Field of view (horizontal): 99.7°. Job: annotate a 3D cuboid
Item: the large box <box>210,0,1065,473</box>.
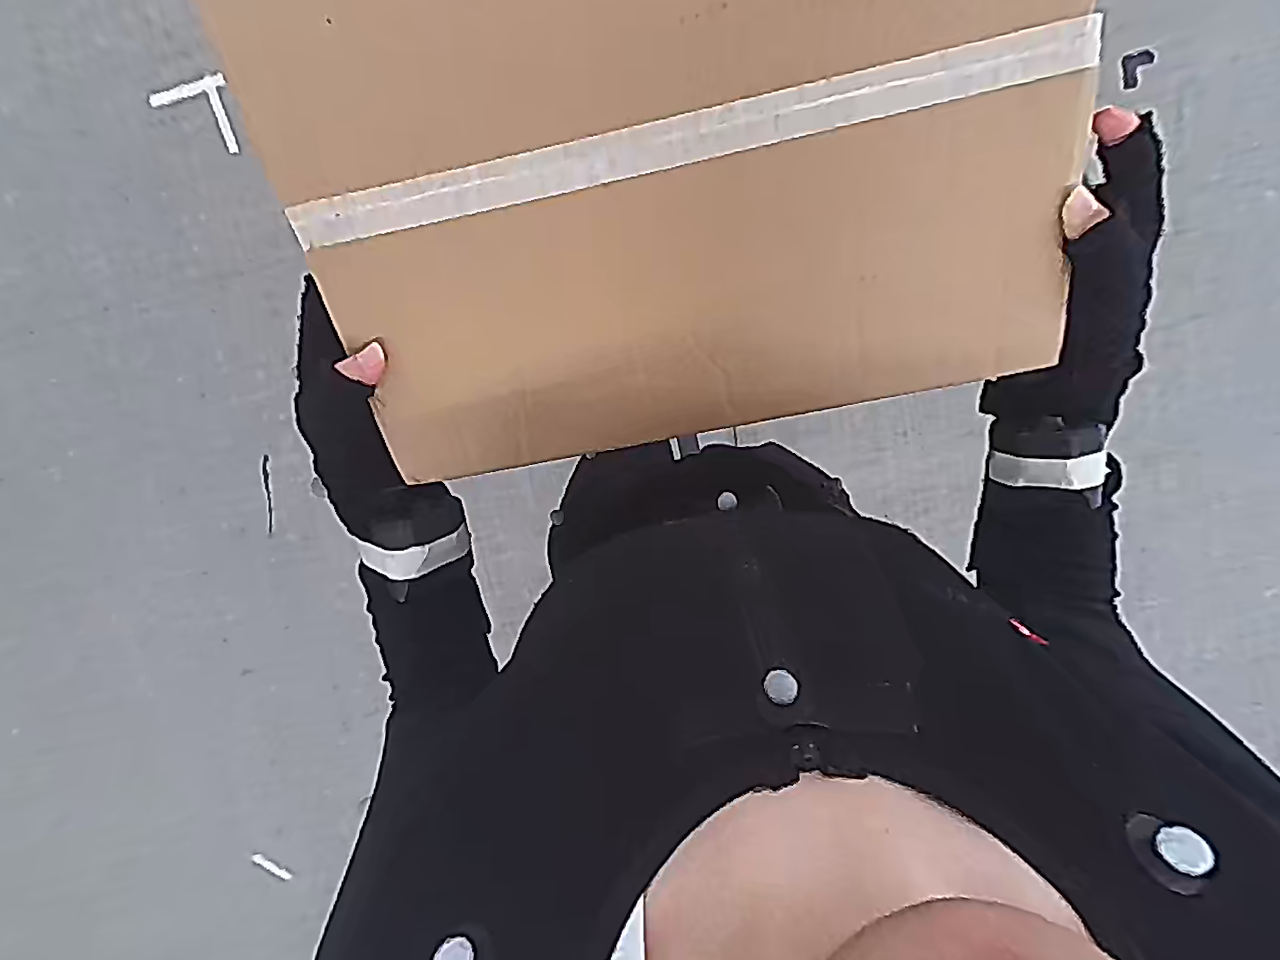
[{"bbox_3d":[0.011,-0.241,0.415,0.408,0.320,0.320,-10,115,5],"label":"large box"}]
